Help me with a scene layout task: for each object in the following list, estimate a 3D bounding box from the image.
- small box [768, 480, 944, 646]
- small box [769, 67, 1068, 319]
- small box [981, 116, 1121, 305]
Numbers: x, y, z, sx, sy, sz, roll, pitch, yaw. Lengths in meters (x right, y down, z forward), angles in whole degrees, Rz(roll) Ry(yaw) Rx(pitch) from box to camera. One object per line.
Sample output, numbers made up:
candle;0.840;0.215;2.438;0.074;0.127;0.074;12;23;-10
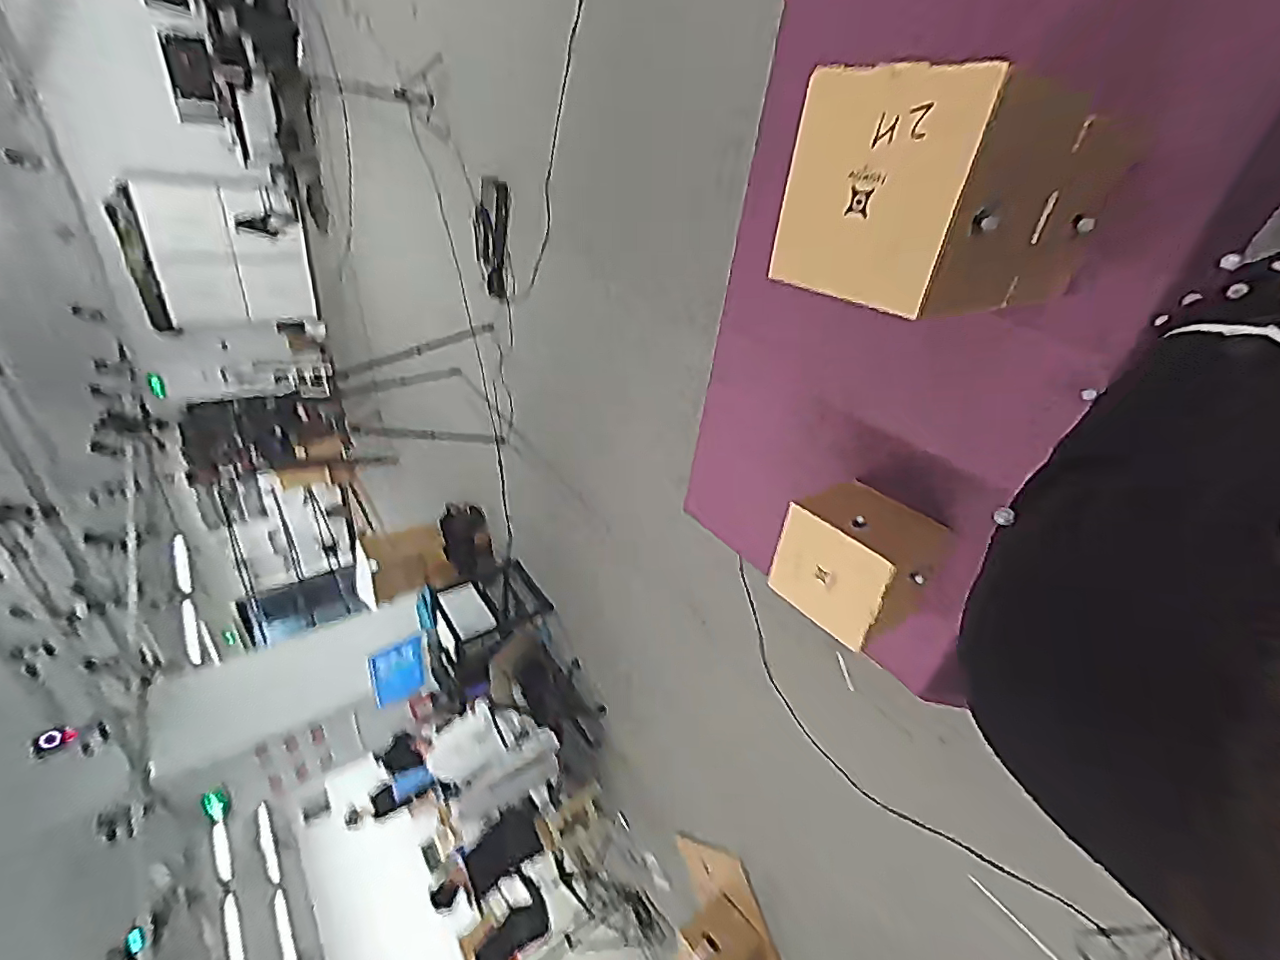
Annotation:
small box;0.336;0.117;0.848;0.179;0.176;0.168;37;131;41
small box;0.253;-0.266;0.508;0.168;0.176;0.179;37;132;39
small box;0.381;-0.306;0.605;0.179;0.176;0.168;37;132;39
